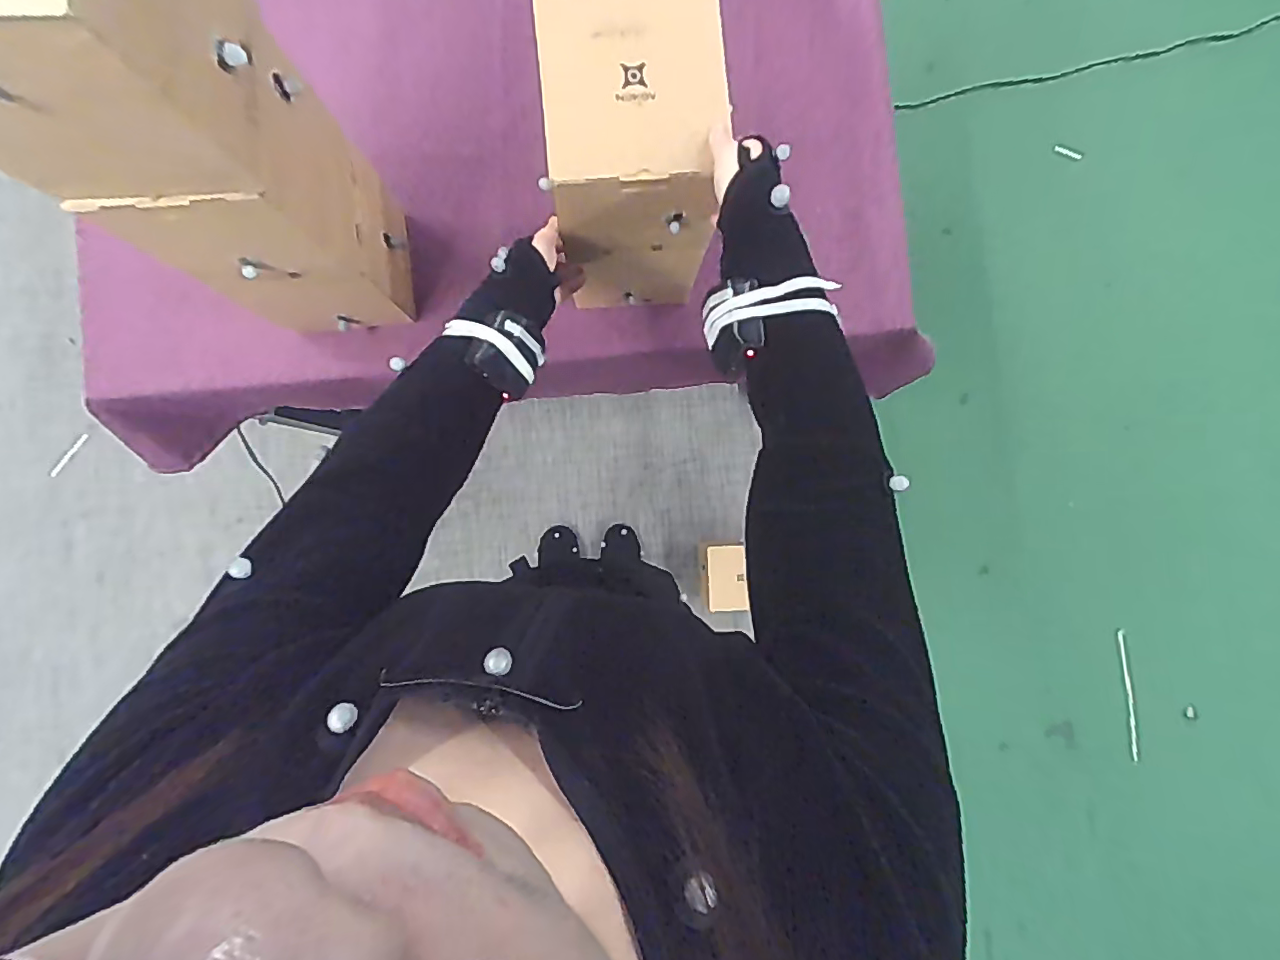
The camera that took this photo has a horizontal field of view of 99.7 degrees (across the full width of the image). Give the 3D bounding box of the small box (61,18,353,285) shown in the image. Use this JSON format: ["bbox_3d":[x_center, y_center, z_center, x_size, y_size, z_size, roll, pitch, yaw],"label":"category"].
[{"bbox_3d":[-0.410,-0.315,0.538,0.168,0.176,0.179,-5,89,-2],"label":"small box"}]

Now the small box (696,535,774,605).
[{"bbox_3d":[0.247,0.237,1.450,0.179,0.176,0.168,-2,89,-4],"label":"small box"}]

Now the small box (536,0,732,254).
[{"bbox_3d":[-0.008,-0.349,0.558,0.168,0.176,0.179,-5,89,-4],"label":"small box"}]

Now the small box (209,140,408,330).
[{"bbox_3d":[-0.418,-0.305,0.703,0.179,0.176,0.168,-7,88,-3],"label":"small box"}]

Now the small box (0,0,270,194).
[{"bbox_3d":[-0.398,-0.322,0.374,0.179,0.176,0.168,-4,88,-3],"label":"small box"}]
